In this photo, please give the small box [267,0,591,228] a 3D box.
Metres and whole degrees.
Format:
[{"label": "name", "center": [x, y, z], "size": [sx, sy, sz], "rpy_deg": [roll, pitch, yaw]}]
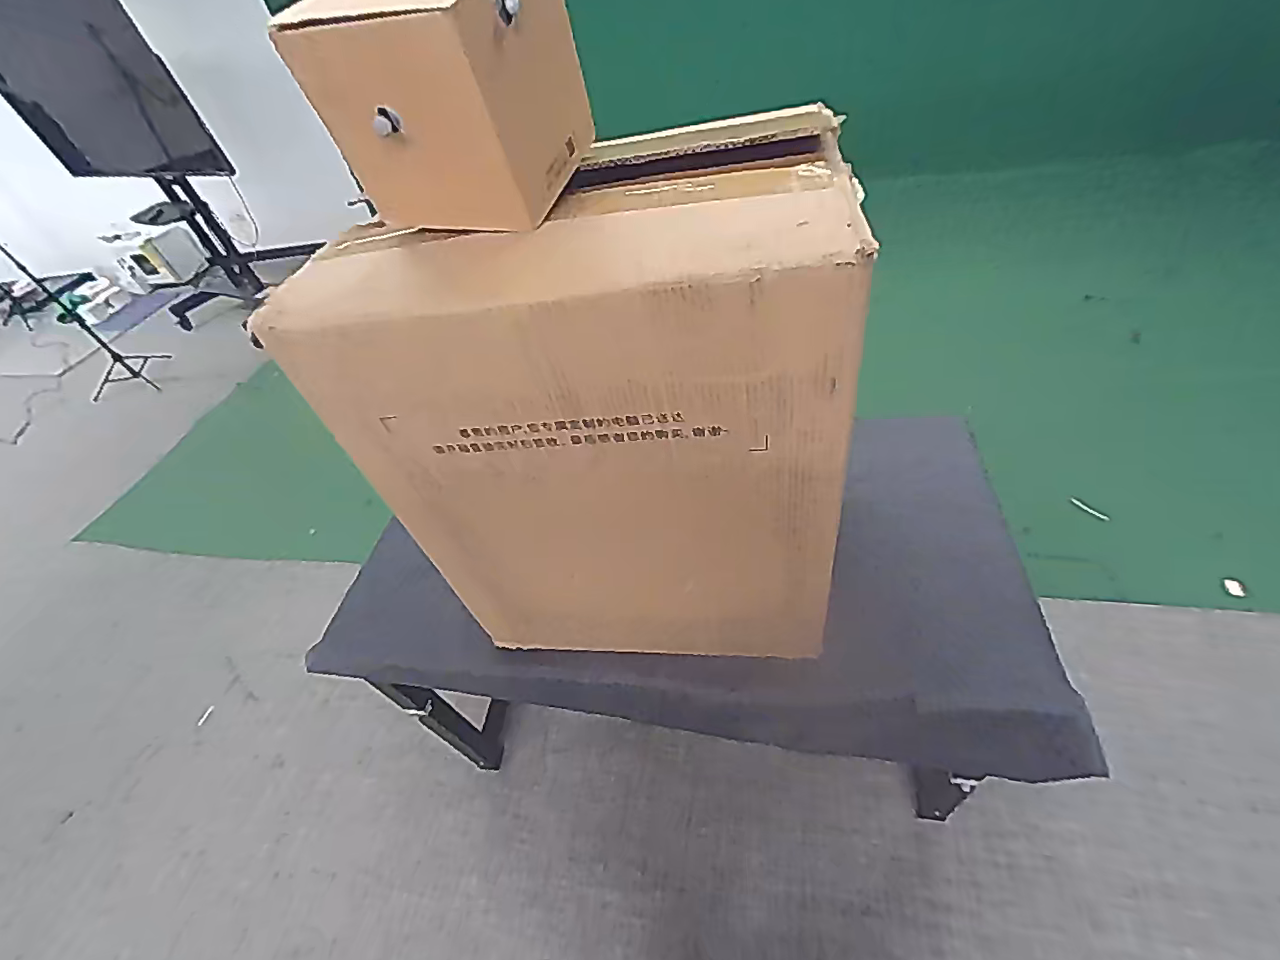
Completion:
[{"label": "small box", "center": [-0.168, -0.351, 0.489], "size": [0.179, 0.176, 0.168], "rpy_deg": [11, 62, 19]}]
